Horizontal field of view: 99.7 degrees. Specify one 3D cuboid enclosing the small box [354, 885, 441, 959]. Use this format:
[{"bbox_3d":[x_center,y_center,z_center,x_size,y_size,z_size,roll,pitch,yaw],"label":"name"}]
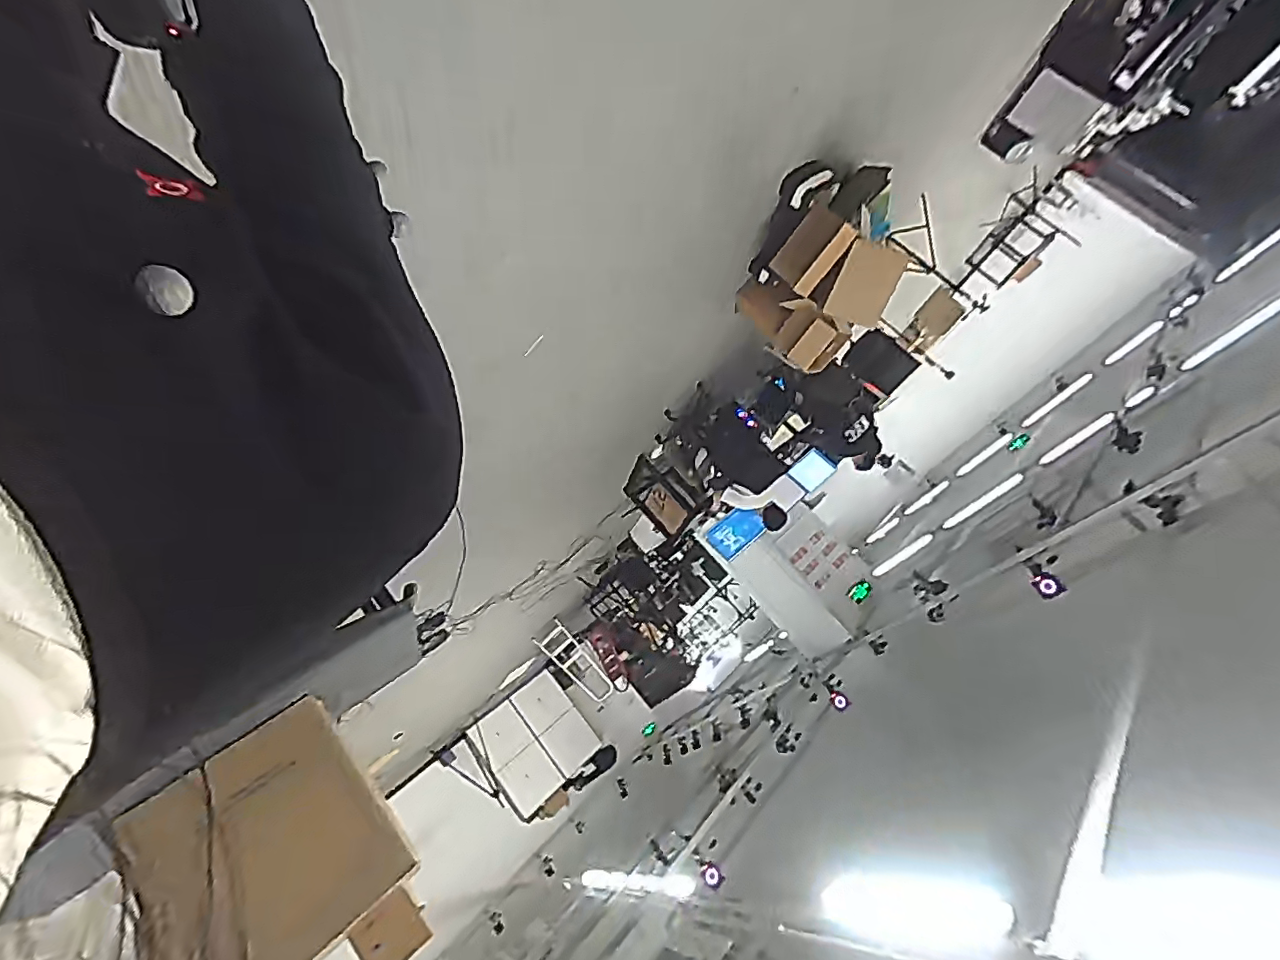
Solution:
[{"bbox_3d":[-0.696,1.309,1.557,0.168,0.176,0.179,-33,161,-32],"label":"small box"}]
